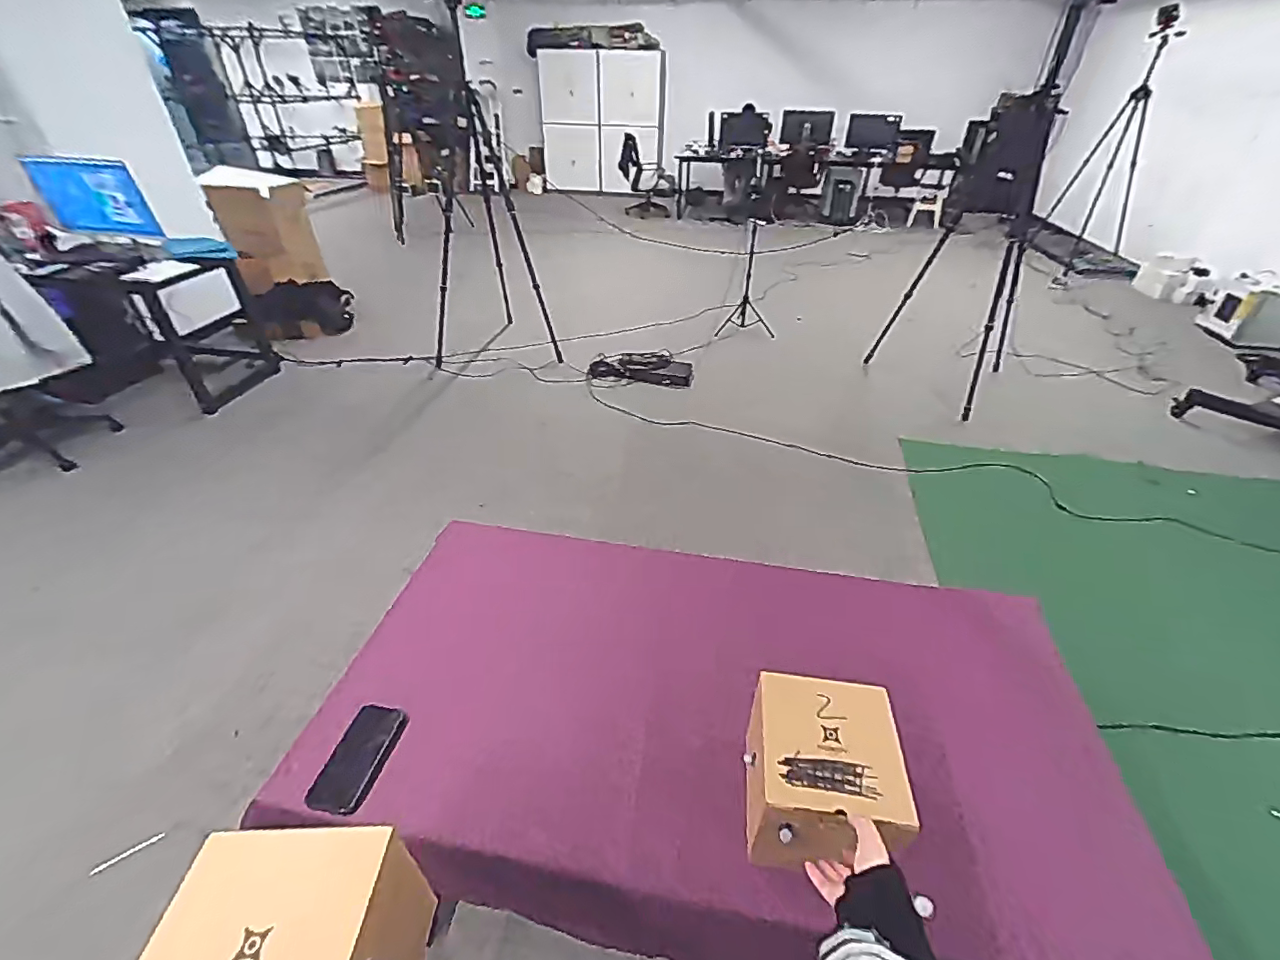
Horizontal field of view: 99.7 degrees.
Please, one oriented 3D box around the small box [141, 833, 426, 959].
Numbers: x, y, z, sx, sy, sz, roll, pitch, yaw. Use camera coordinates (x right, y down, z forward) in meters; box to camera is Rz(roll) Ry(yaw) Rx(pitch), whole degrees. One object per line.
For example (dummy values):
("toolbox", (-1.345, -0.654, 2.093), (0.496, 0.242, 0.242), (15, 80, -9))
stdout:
("small box", (-0.297, 0.431, 0.456), (0.168, 0.176, 0.179), (-1, 35, -1))
